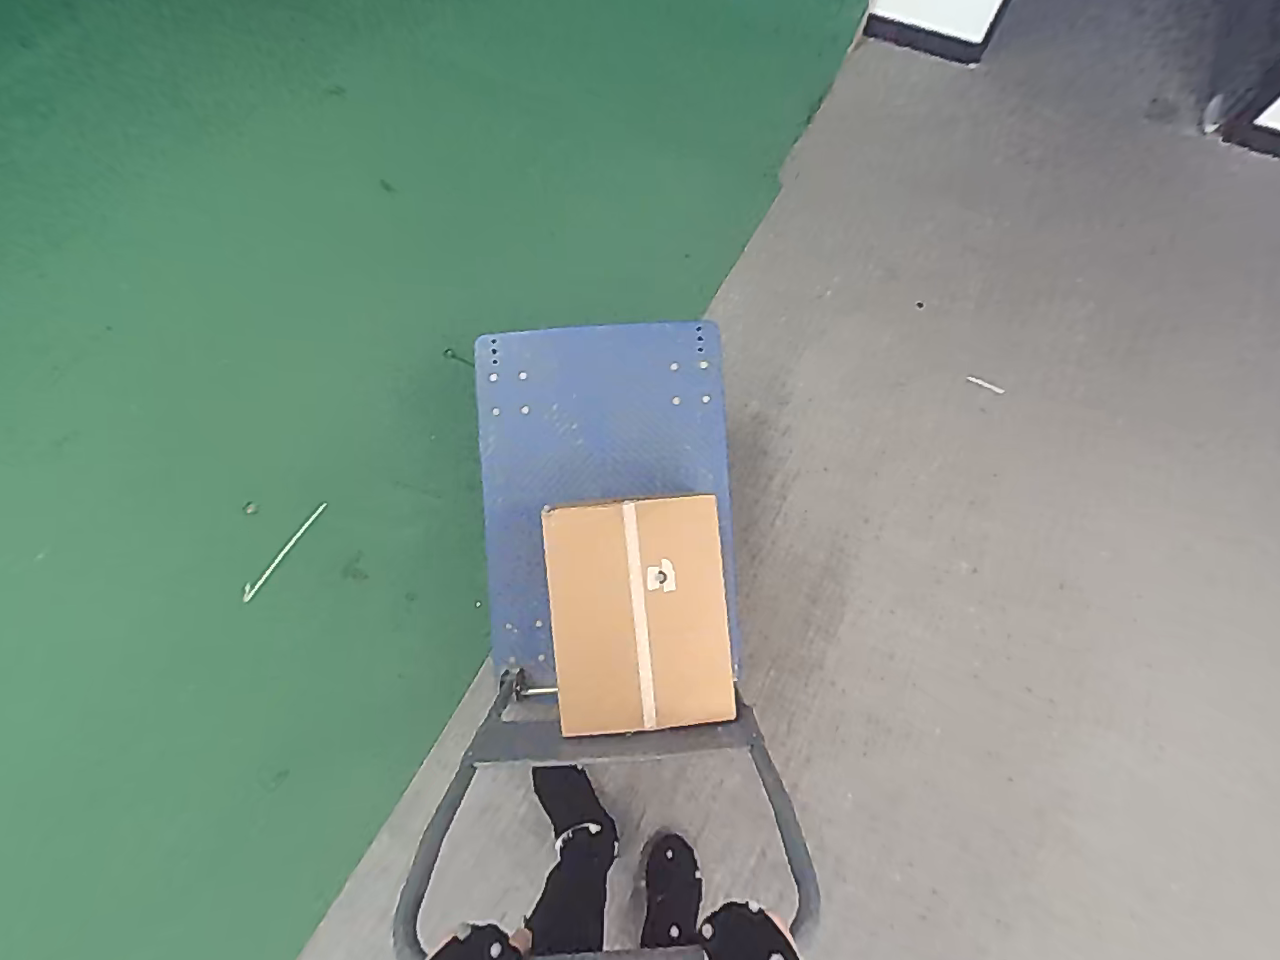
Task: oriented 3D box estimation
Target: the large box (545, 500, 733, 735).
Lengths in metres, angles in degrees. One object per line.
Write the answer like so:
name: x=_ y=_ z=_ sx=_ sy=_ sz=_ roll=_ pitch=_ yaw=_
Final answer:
large box: x=0.000 y=0.256 z=1.128 sx=0.320 sy=0.320 sz=0.408 roll=-5 pitch=89 yaw=-1
